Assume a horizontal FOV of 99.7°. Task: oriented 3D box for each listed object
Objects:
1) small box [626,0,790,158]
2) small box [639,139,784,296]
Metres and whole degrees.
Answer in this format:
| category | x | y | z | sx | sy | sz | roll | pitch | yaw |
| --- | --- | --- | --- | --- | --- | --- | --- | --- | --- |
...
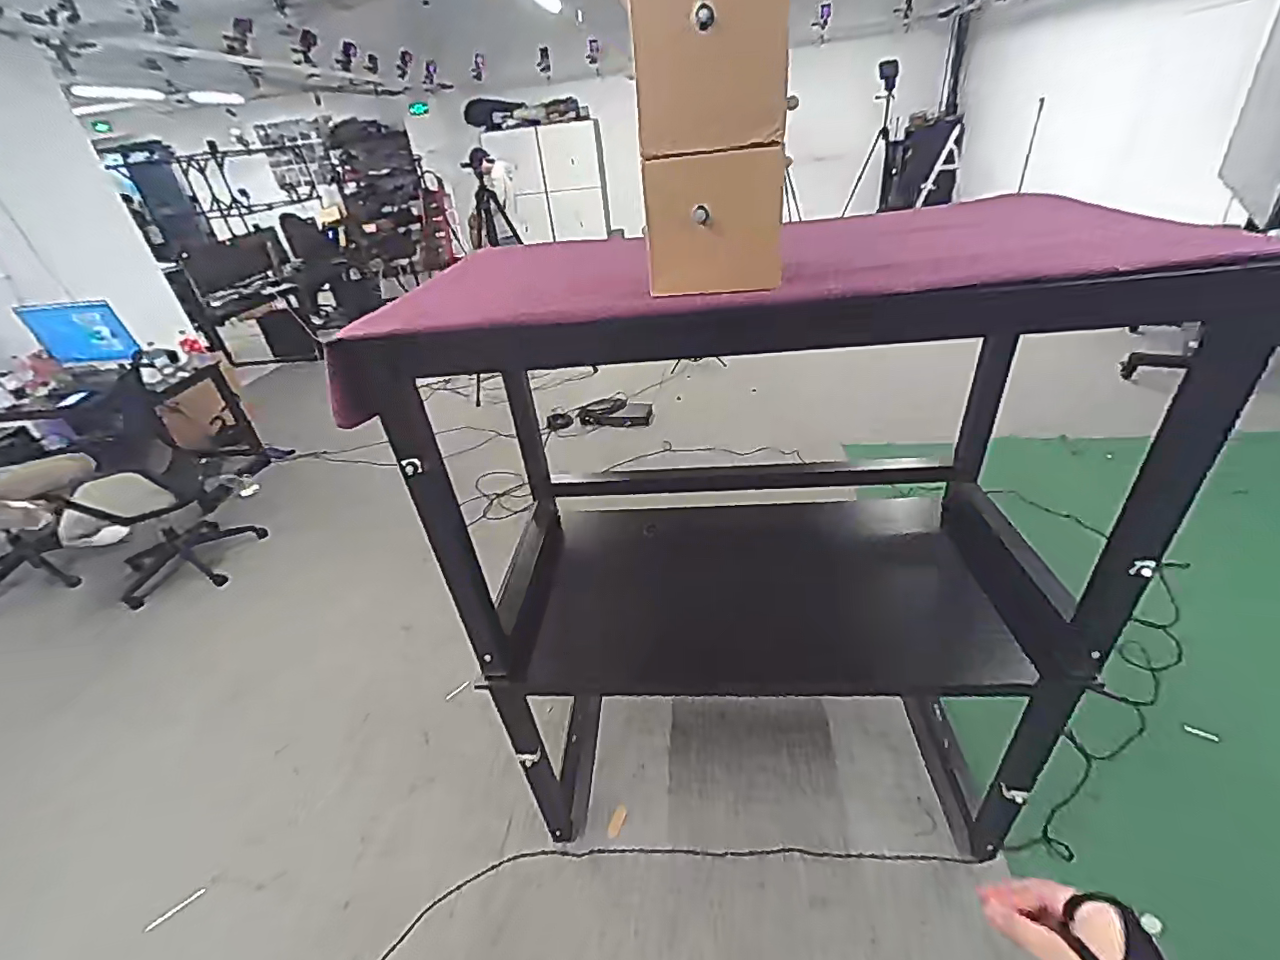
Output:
| category | x | y | z | sx | sy | sz | roll | pitch | yaw |
| --- | --- | --- | --- | --- | --- | --- | --- | --- | --- |
| small box | 0.090 | -0.500 | 0.664 | 0.179 | 0.176 | 0.168 | 0 | 33 | 11 |
| small box | 0.106 | -0.361 | 0.749 | 0.179 | 0.176 | 0.168 | -2 | 32 | 11 |
